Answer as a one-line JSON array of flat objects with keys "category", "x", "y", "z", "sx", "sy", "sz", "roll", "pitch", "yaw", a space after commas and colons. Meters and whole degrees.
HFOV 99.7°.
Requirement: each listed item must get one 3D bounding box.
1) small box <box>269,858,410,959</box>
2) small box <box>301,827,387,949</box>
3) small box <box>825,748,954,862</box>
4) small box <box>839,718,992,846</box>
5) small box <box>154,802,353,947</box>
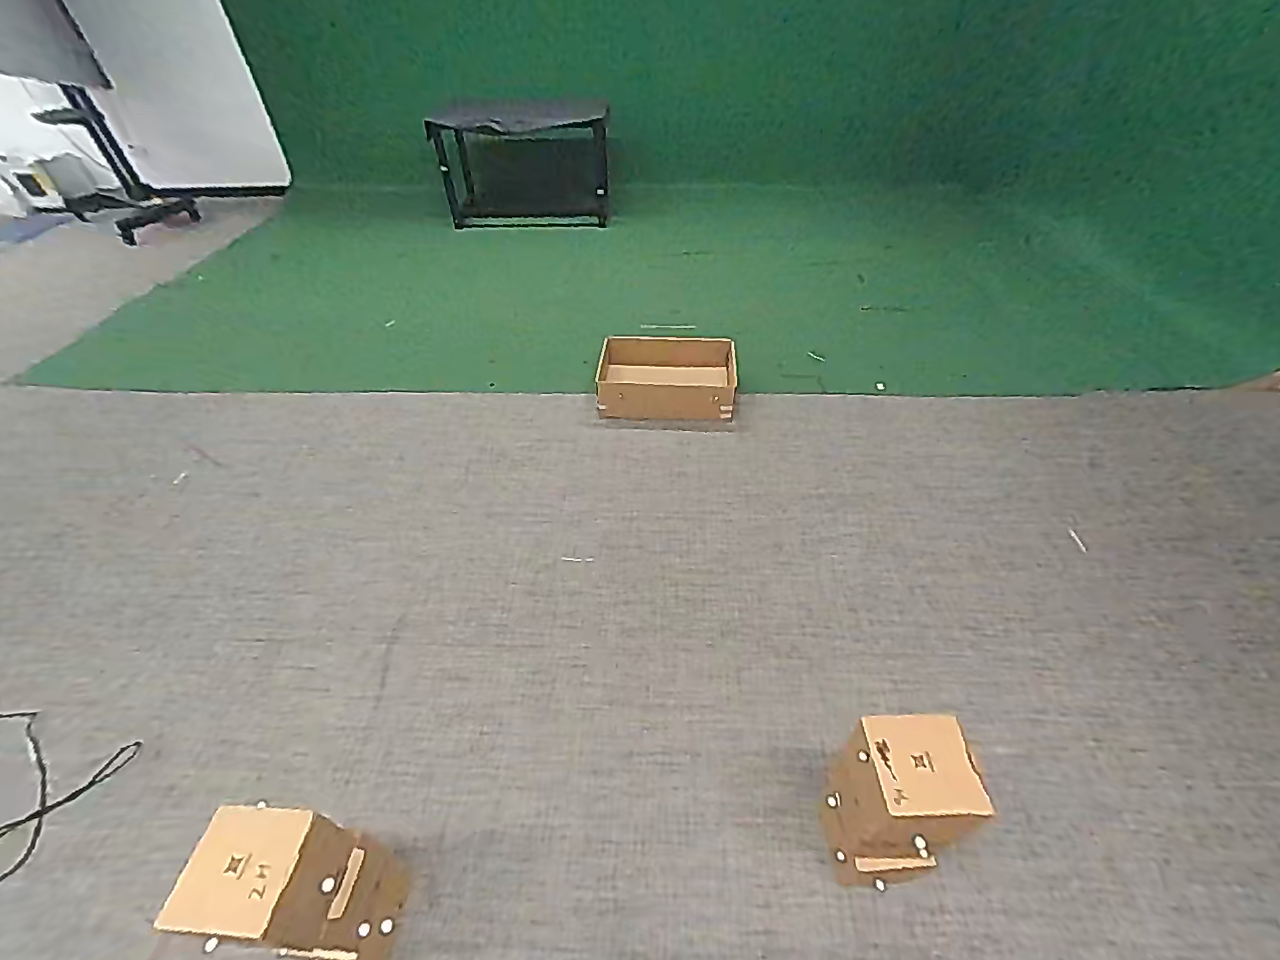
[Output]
[{"category": "small box", "x": -0.611, "y": 0.895, "z": 1.130, "sx": 0.179, "sy": 0.176, "sz": 0.168, "roll": 2, "pitch": 44, "yaw": 4}, {"category": "small box", "x": -0.615, "y": 0.768, "z": 1.024, "sx": 0.179, "sy": 0.176, "sz": 0.168, "roll": 1, "pitch": 44, "yaw": 5}, {"category": "small box", "x": 0.501, "y": 0.670, "z": 1.115, "sx": 0.179, "sy": 0.176, "sz": 0.168, "roll": -1, "pitch": 43, "yaw": 2}, {"category": "small box", "x": 0.492, "y": 0.557, "z": 0.996, "sx": 0.179, "sy": 0.176, "sz": 0.168, "roll": 0, "pitch": 43, "yaw": 0}, {"category": "small box", "x": -0.625, "y": 0.658, "z": 0.901, "sx": 0.179, "sy": 0.176, "sz": 0.168, "roll": 2, "pitch": 44, "yaw": 4}]
